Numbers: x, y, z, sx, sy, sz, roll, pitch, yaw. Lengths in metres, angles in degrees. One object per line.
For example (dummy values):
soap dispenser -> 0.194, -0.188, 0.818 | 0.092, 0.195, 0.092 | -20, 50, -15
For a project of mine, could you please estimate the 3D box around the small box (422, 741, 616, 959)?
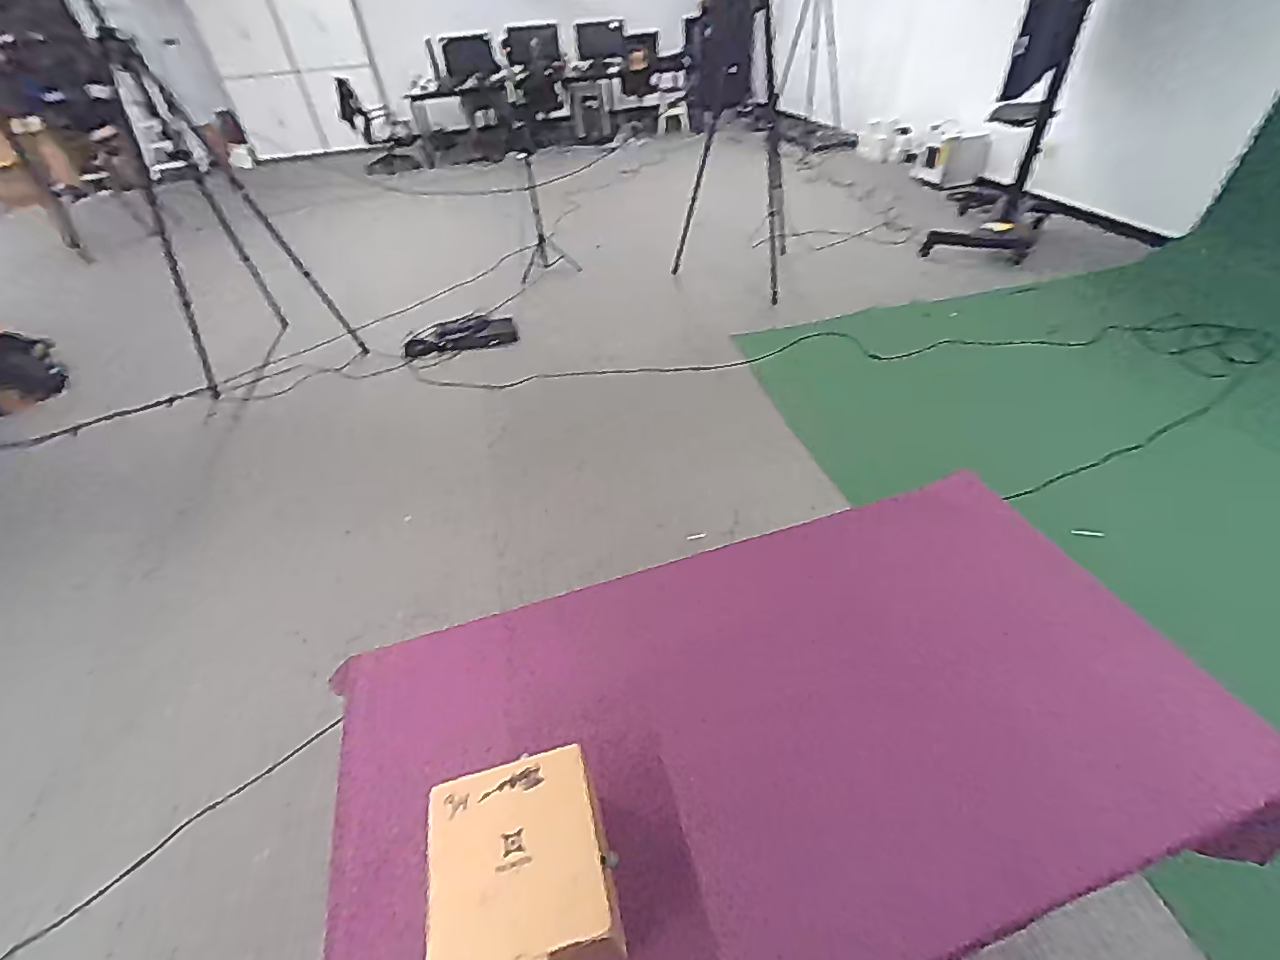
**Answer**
small box -> -0.125, 0.422, 0.591 | 0.168, 0.176, 0.179 | -12, 44, -9
